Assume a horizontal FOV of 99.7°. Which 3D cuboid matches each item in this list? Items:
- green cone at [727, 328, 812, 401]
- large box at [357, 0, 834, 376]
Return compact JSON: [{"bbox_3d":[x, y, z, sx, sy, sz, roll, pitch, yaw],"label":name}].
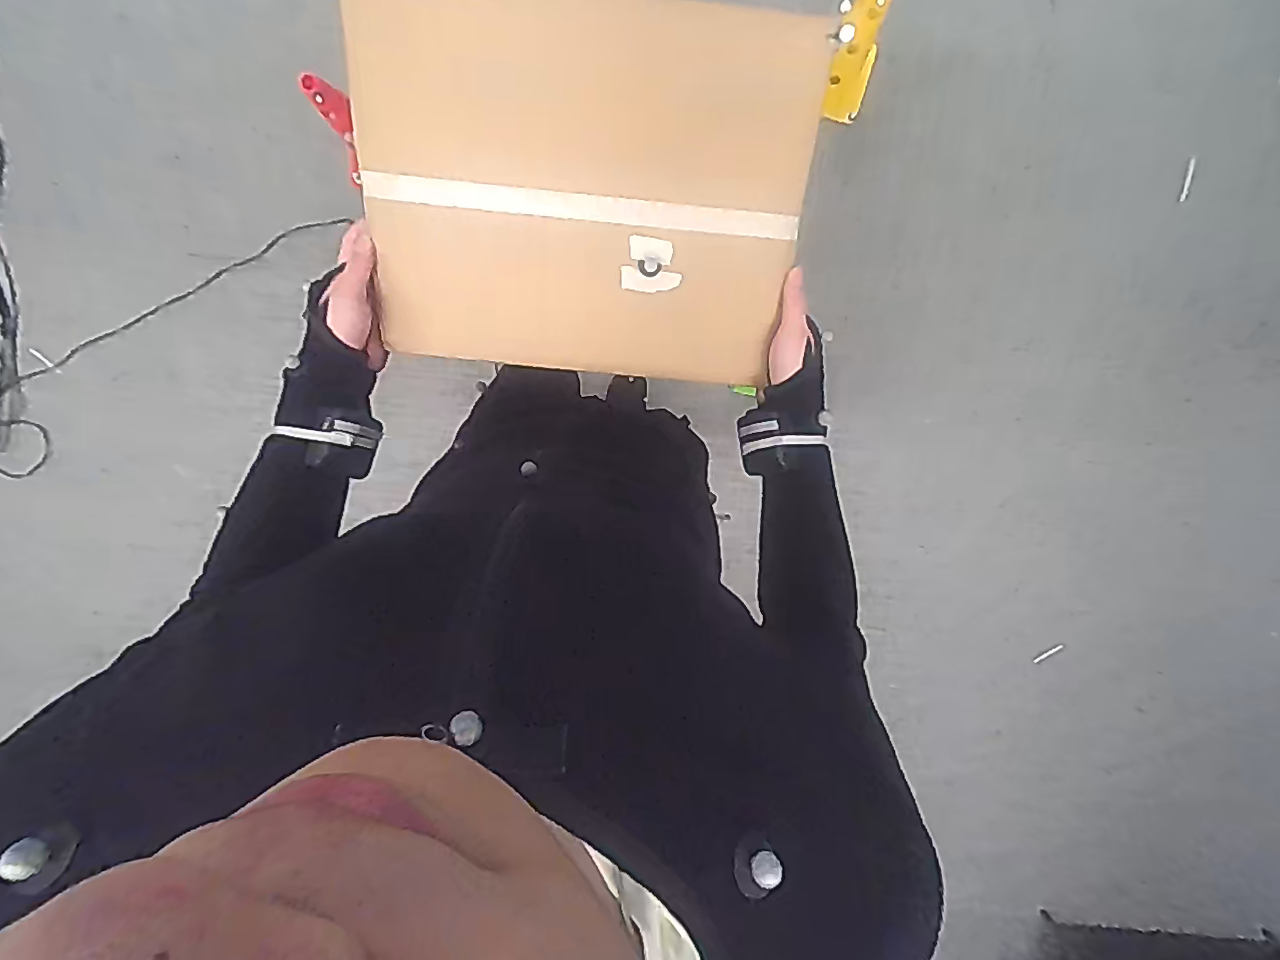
[{"bbox_3d":[0.368,-0.311,1.389,0.200,0.368,0.202,11,100,-3],"label":"green cone"},{"bbox_3d":[-0.049,-0.325,0.642,0.408,0.320,0.320,4,117,-3],"label":"large box"}]
